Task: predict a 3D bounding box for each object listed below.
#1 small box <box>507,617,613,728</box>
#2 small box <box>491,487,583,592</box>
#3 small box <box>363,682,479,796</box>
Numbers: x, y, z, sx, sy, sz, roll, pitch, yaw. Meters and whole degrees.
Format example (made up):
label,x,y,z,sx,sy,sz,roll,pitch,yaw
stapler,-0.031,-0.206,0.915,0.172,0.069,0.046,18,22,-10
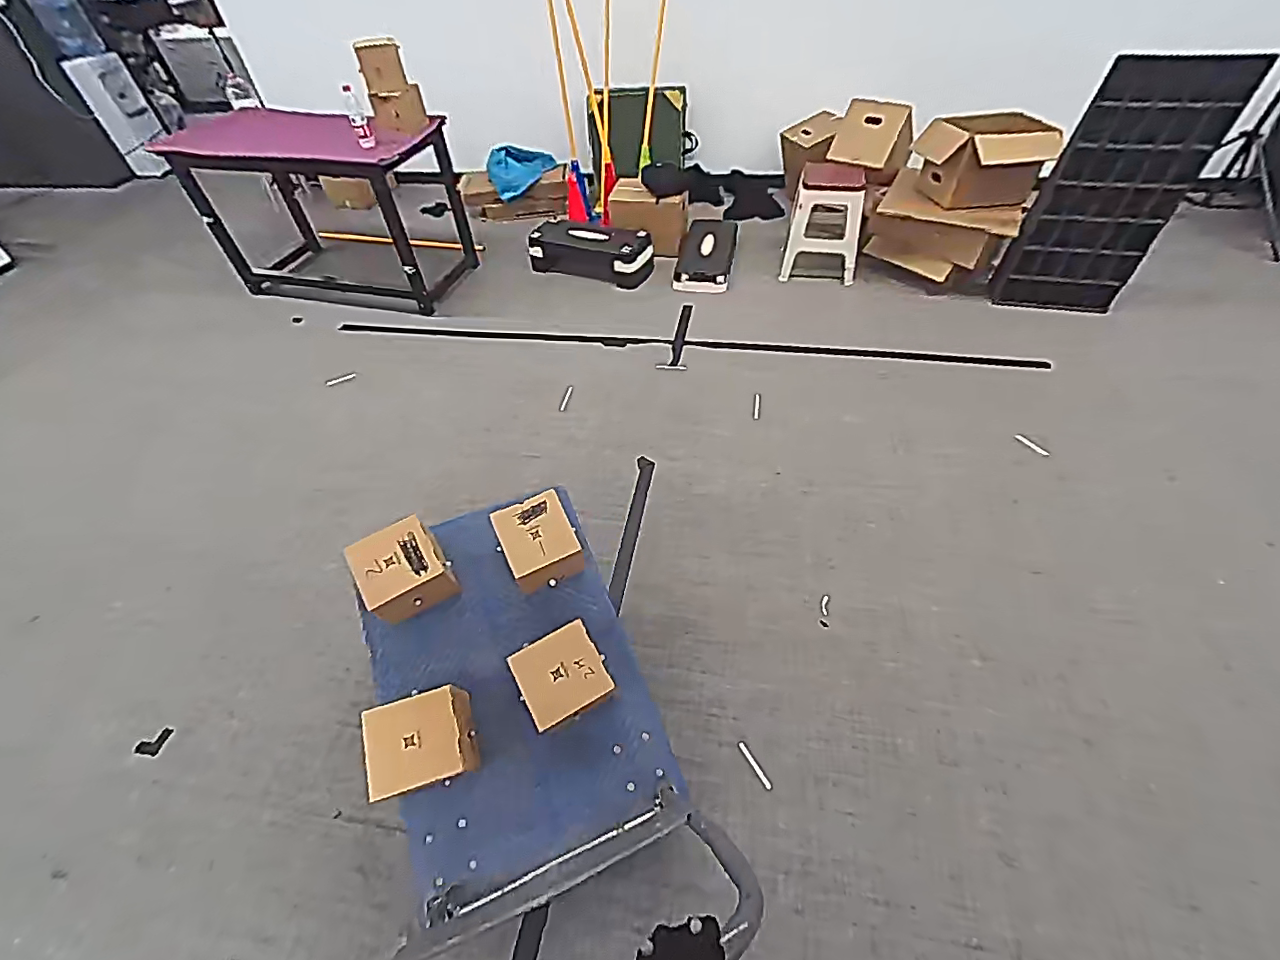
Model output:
label,x,y,z,sx,sy,sz,roll,pitch,yaw
small box,-0.170,0.432,1.200,0.179,0.176,0.168,-26,68,-15
small box,-0.249,0.151,1.334,0.168,0.176,0.179,-23,69,-14
small box,-0.450,0.540,1.128,0.179,0.176,0.168,-14,65,-13
